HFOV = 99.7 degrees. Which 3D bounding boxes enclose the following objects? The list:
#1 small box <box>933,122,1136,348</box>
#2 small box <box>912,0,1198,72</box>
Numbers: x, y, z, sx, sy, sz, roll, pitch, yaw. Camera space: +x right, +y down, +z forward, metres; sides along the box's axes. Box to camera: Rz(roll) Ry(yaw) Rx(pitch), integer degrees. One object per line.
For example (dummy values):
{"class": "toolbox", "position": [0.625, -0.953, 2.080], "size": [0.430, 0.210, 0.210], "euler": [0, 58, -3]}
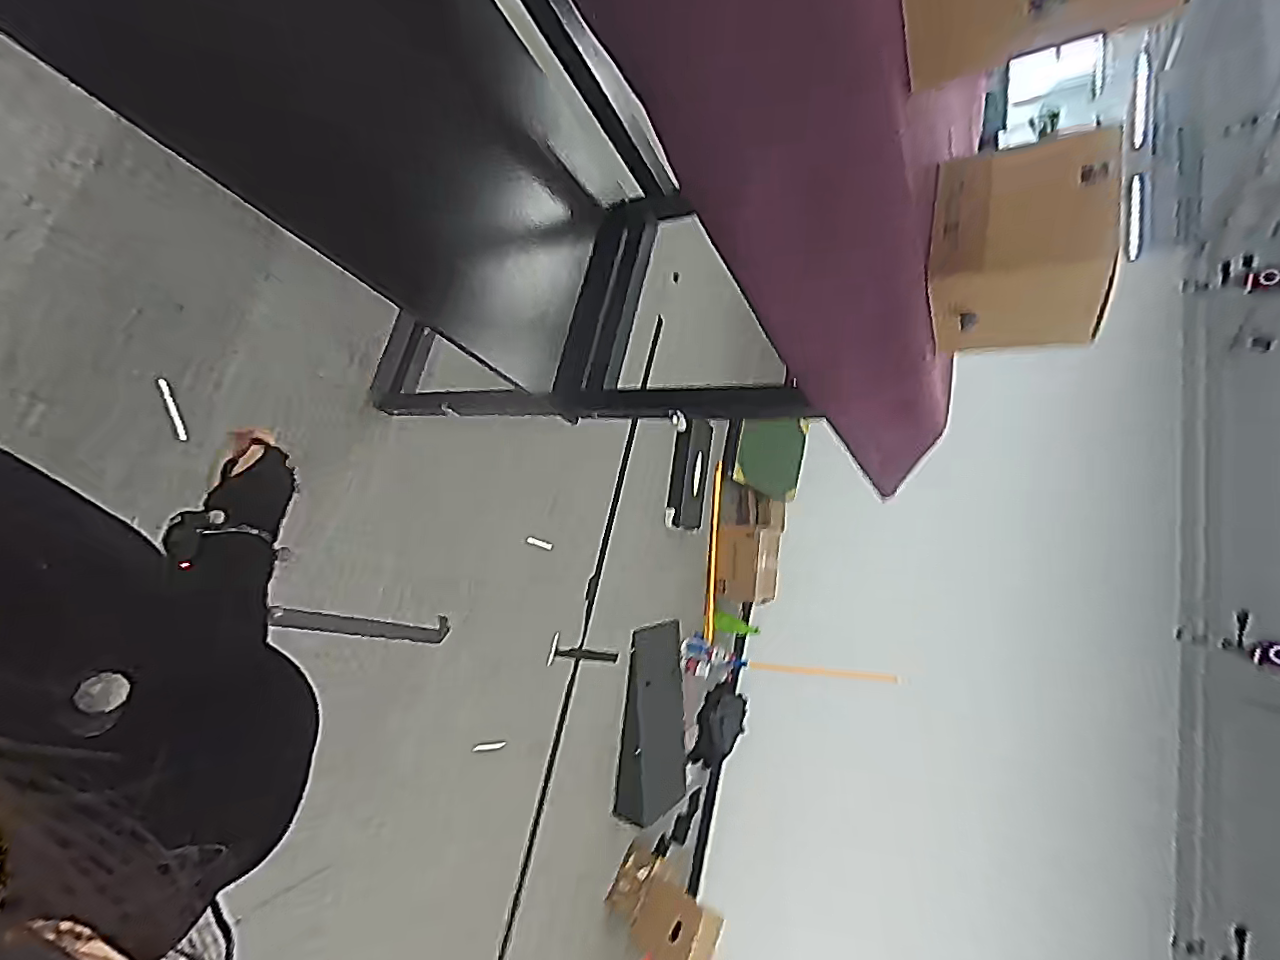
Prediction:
{"class": "small box", "position": [0.455, -0.269, 0.641], "size": [0.179, 0.176, 0.168], "euler": [31, 67, -54]}
{"class": "small box", "position": [0.277, -0.418, 0.358], "size": [0.179, 0.176, 0.168], "euler": [34, 65, -52]}
